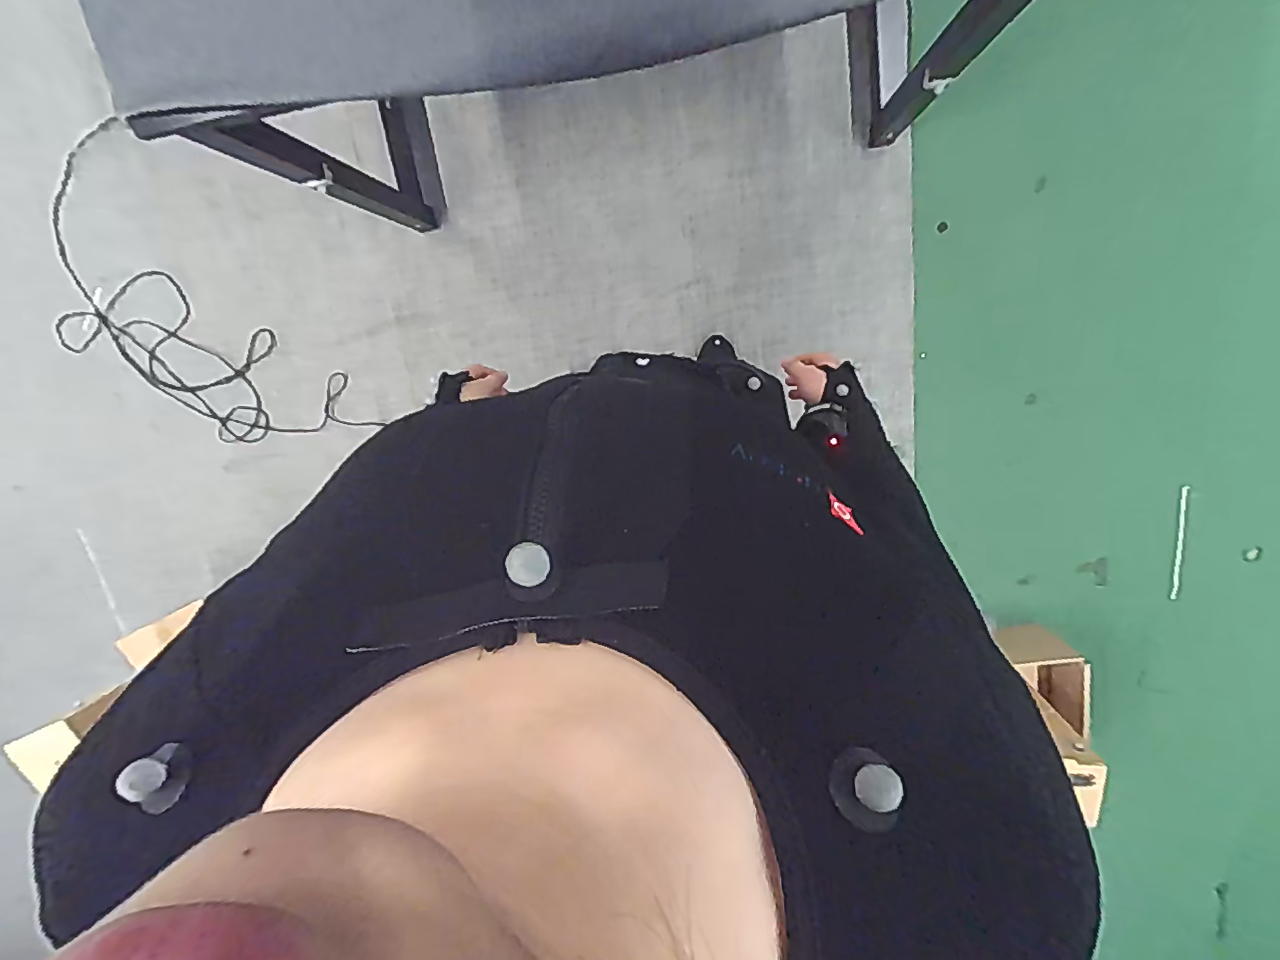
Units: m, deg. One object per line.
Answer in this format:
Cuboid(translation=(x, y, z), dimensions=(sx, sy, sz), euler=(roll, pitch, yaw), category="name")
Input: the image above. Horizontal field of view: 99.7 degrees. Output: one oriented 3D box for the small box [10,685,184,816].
Cuboid(translation=(-1.168, 0.576, 1.179), dimensions=(0.168, 0.176, 0.179), euler=(-24, 101, 9), category="small box")
